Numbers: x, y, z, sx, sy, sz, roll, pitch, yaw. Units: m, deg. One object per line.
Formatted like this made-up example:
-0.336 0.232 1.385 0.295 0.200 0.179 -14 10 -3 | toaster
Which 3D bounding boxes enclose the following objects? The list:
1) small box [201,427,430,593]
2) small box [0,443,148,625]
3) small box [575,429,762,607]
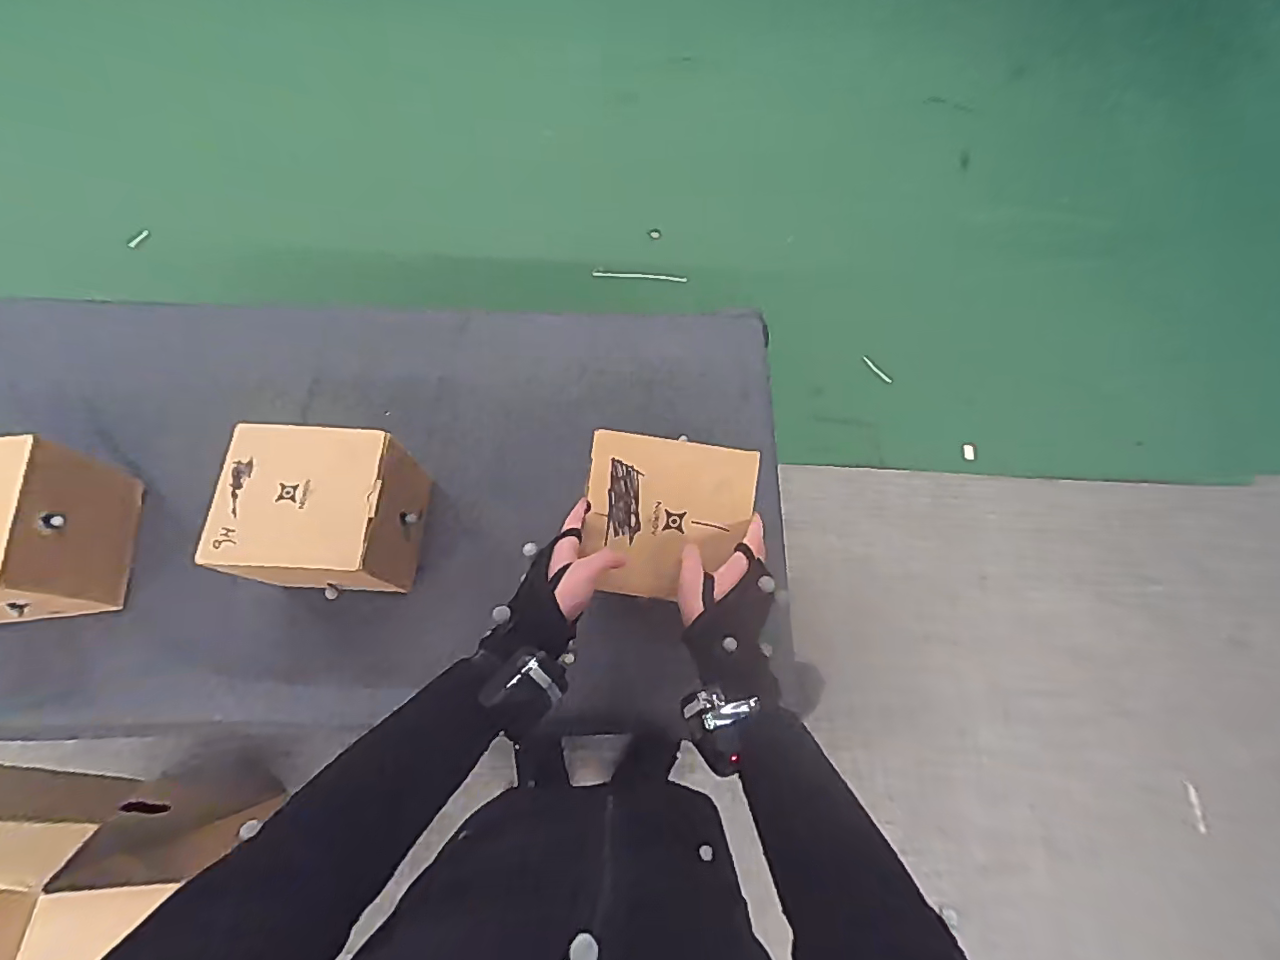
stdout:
-0.383 0.047 0.680 0.179 0.176 0.168 3 70 -2 | small box
-0.751 0.074 0.652 0.168 0.176 0.179 -6 69 -7 | small box
0.032 0.043 0.637 0.179 0.176 0.168 8 87 2 | small box
